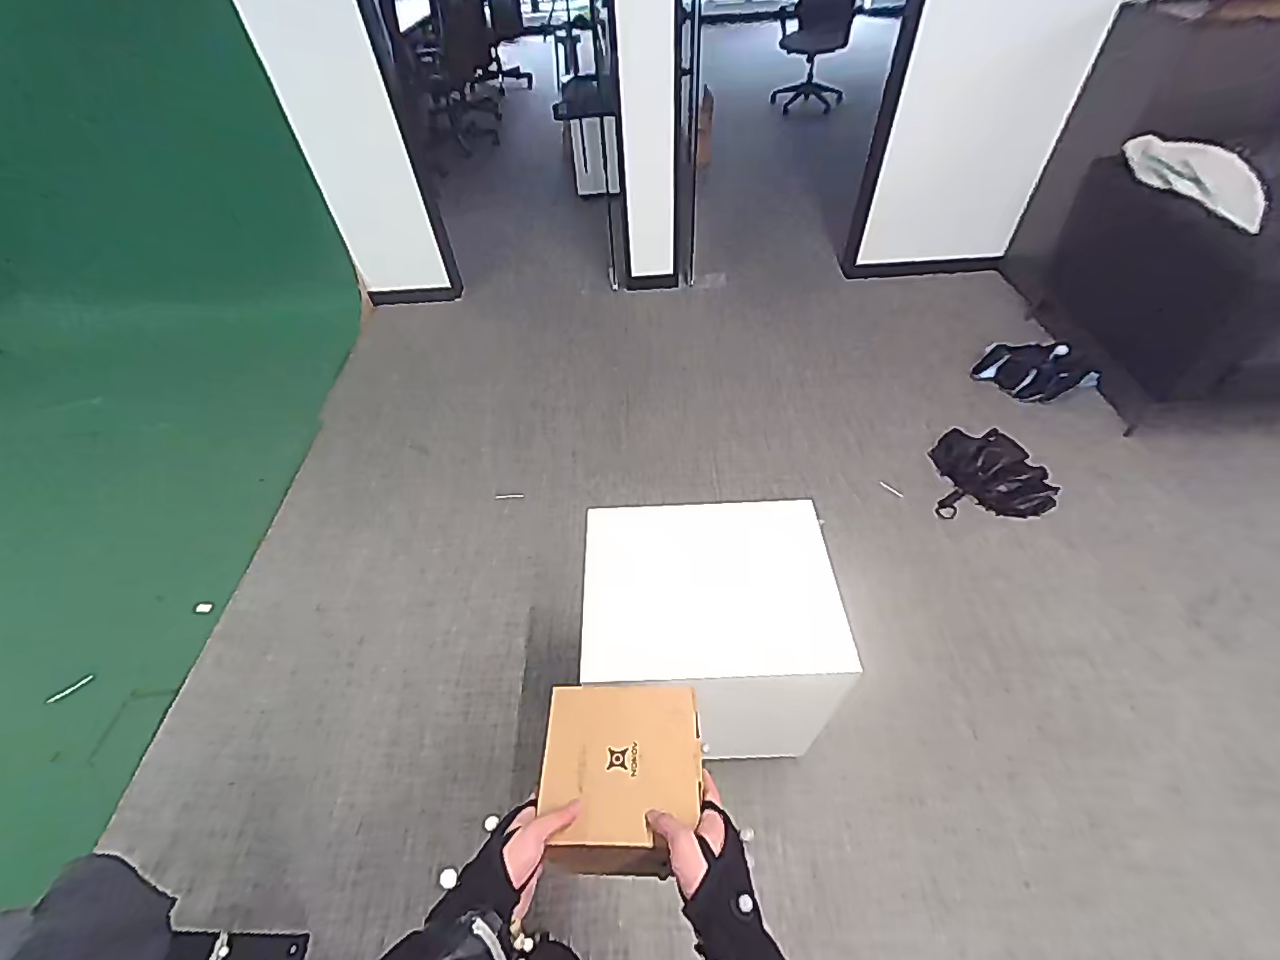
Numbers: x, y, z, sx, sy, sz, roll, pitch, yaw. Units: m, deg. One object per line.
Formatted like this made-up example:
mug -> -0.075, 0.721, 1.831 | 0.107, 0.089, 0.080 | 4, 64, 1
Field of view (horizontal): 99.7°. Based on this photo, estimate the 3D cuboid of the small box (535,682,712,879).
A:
small box -> -0.014, 0.353, 0.637 | 0.179, 0.176, 0.168 | -2, 44, 1
